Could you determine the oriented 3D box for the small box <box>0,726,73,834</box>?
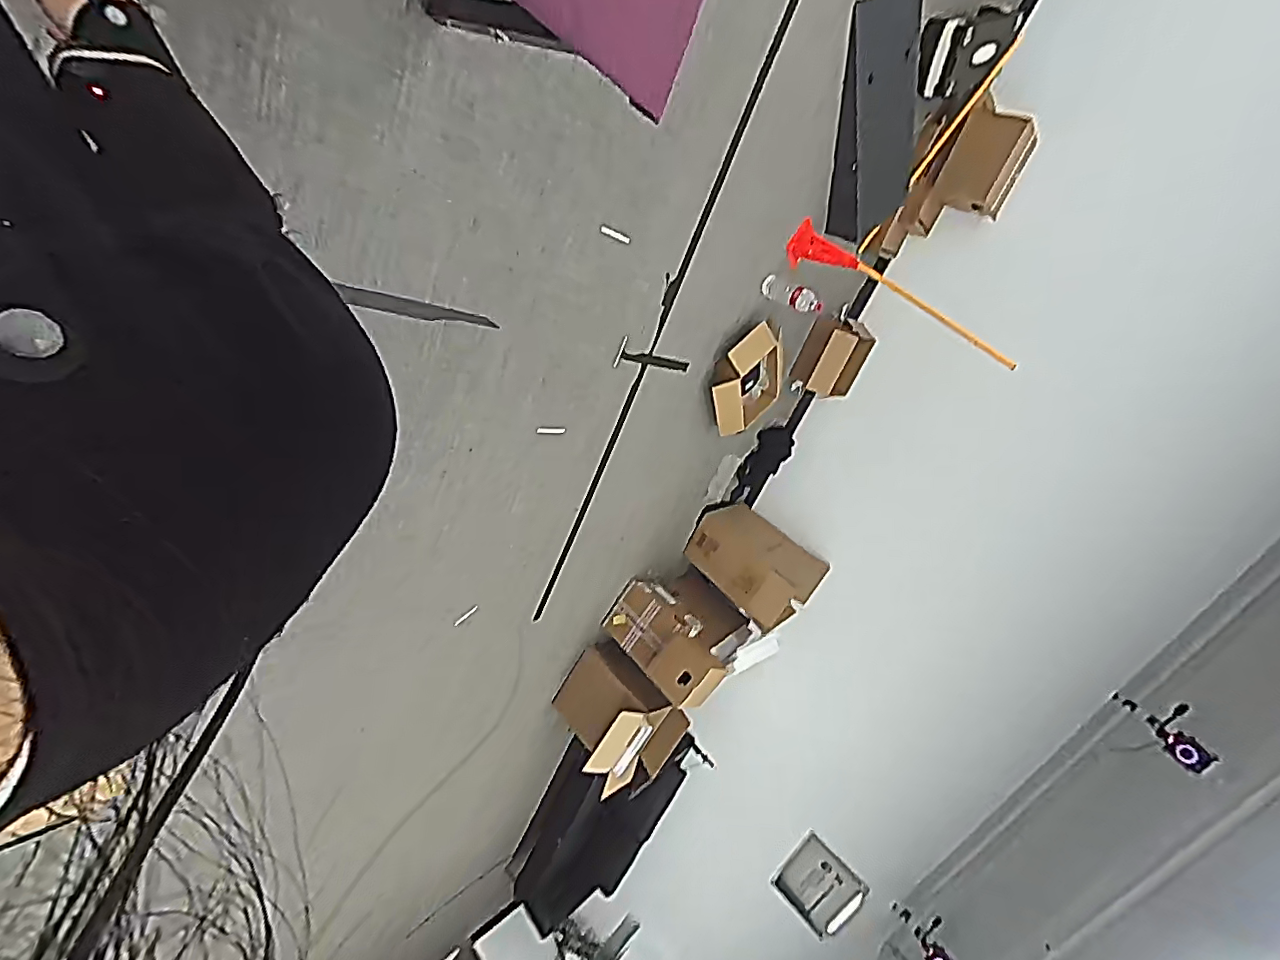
[{"bbox_3d":[-1.629,0.782,1.420,0.168,0.176,0.179,-10,130,-49],"label":"small box"}]
